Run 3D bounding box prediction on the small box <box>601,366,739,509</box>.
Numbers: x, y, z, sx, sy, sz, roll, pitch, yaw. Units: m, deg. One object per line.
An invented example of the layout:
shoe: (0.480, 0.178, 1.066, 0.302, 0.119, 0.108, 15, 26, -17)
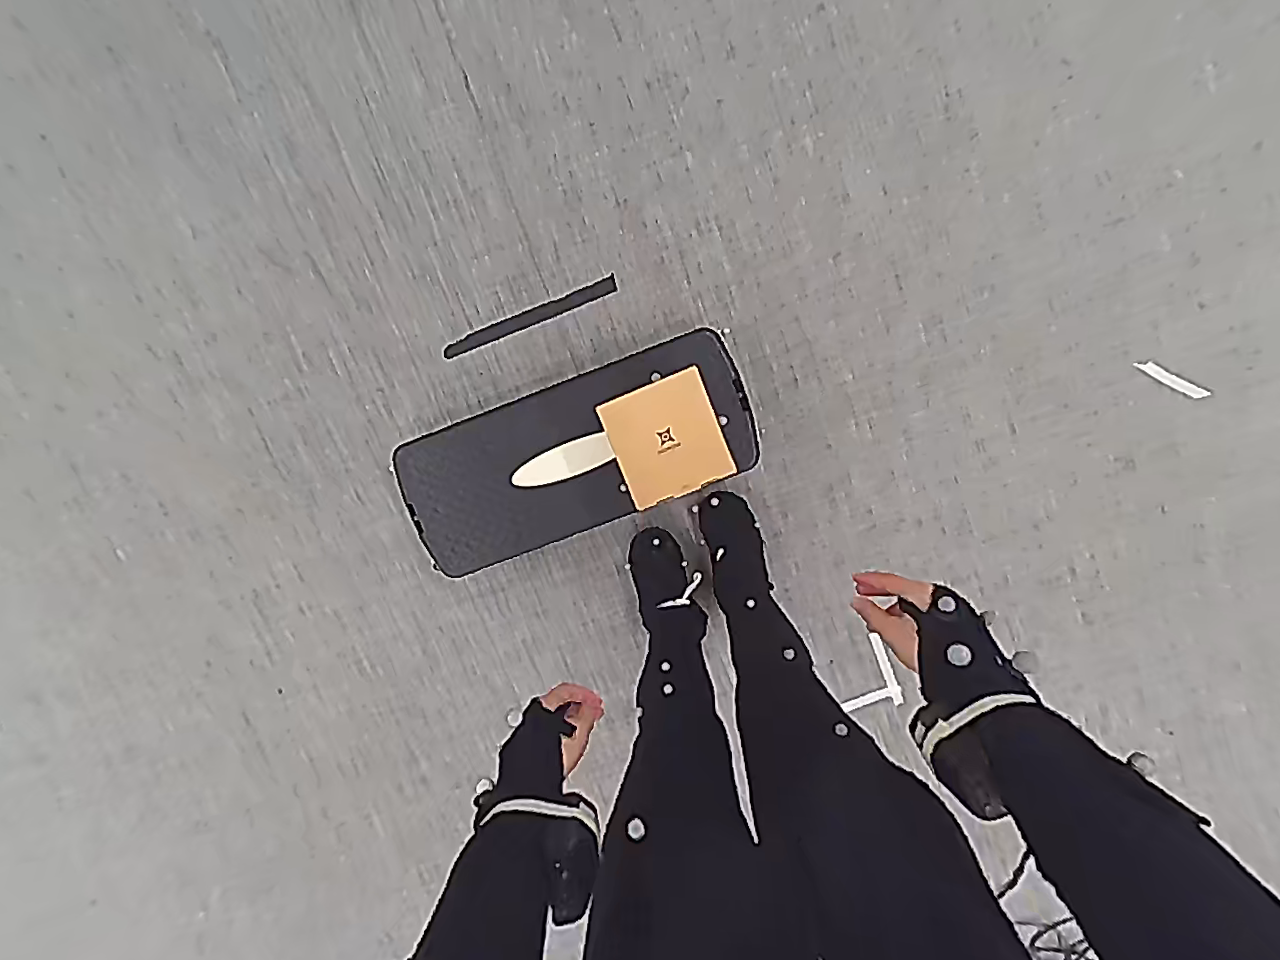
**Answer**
small box: (0.046, -0.072, 0.897, 0.168, 0.176, 0.179, -22, 98, 4)
